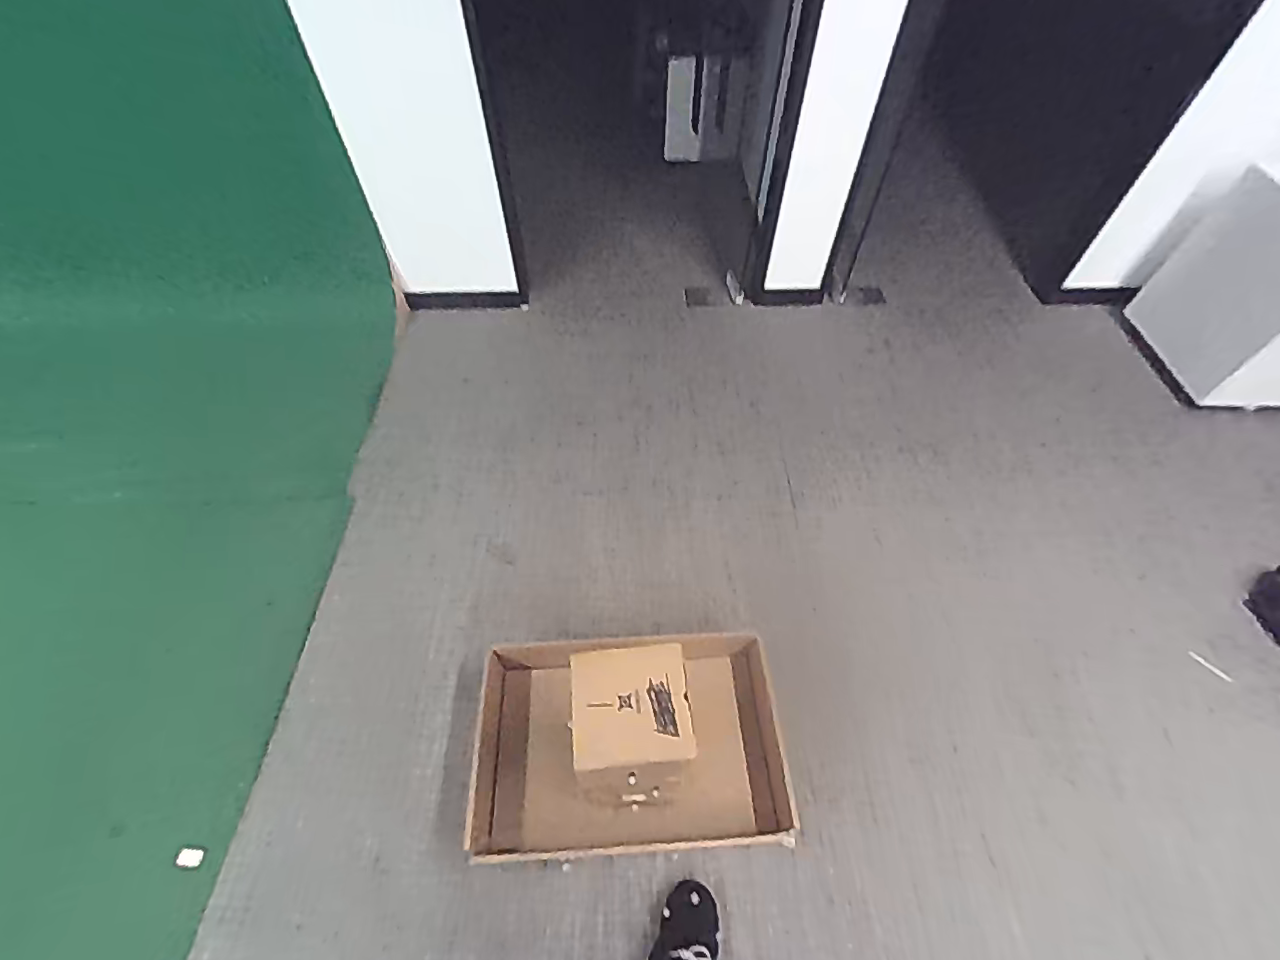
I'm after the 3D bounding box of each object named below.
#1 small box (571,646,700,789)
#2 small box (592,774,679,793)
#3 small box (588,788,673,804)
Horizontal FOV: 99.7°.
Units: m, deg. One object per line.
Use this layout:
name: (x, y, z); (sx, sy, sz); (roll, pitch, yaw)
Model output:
small box: (-0.014, 0.383, 0.866); (0.179, 0.176, 0.168); (-6, 54, -6)
small box: (-0.015, 0.474, 1.003); (0.168, 0.176, 0.179); (-1, 52, -1)
small box: (-0.016, 0.573, 1.131); (0.168, 0.176, 0.179); (-1, 53, 0)
